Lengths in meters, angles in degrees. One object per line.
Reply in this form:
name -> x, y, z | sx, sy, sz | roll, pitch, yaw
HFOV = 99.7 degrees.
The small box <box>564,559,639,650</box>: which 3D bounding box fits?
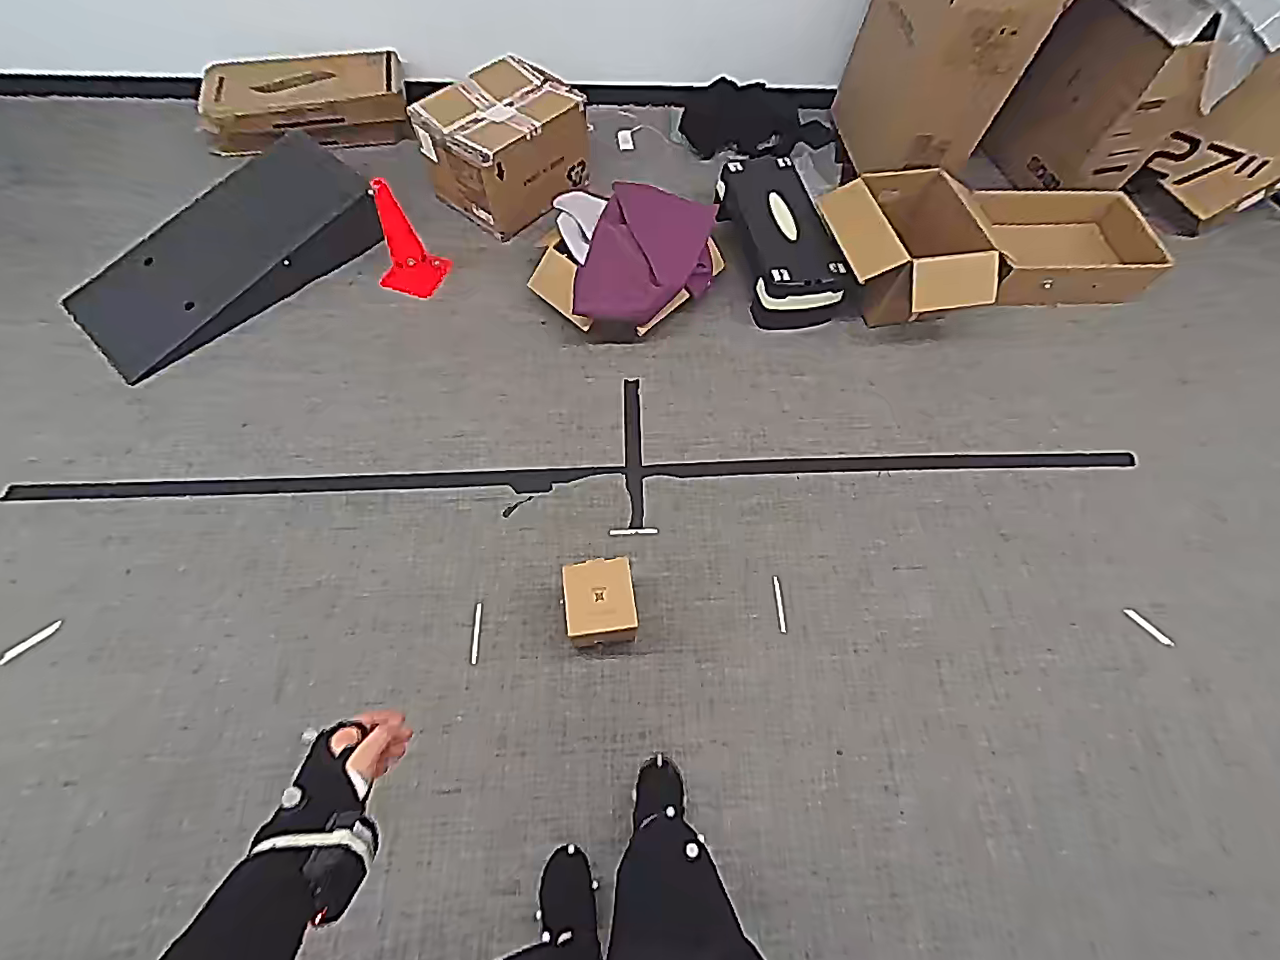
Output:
small box -> -0.098, 0.314, 1.353 | 0.168, 0.176, 0.179 | -8, 65, -5
